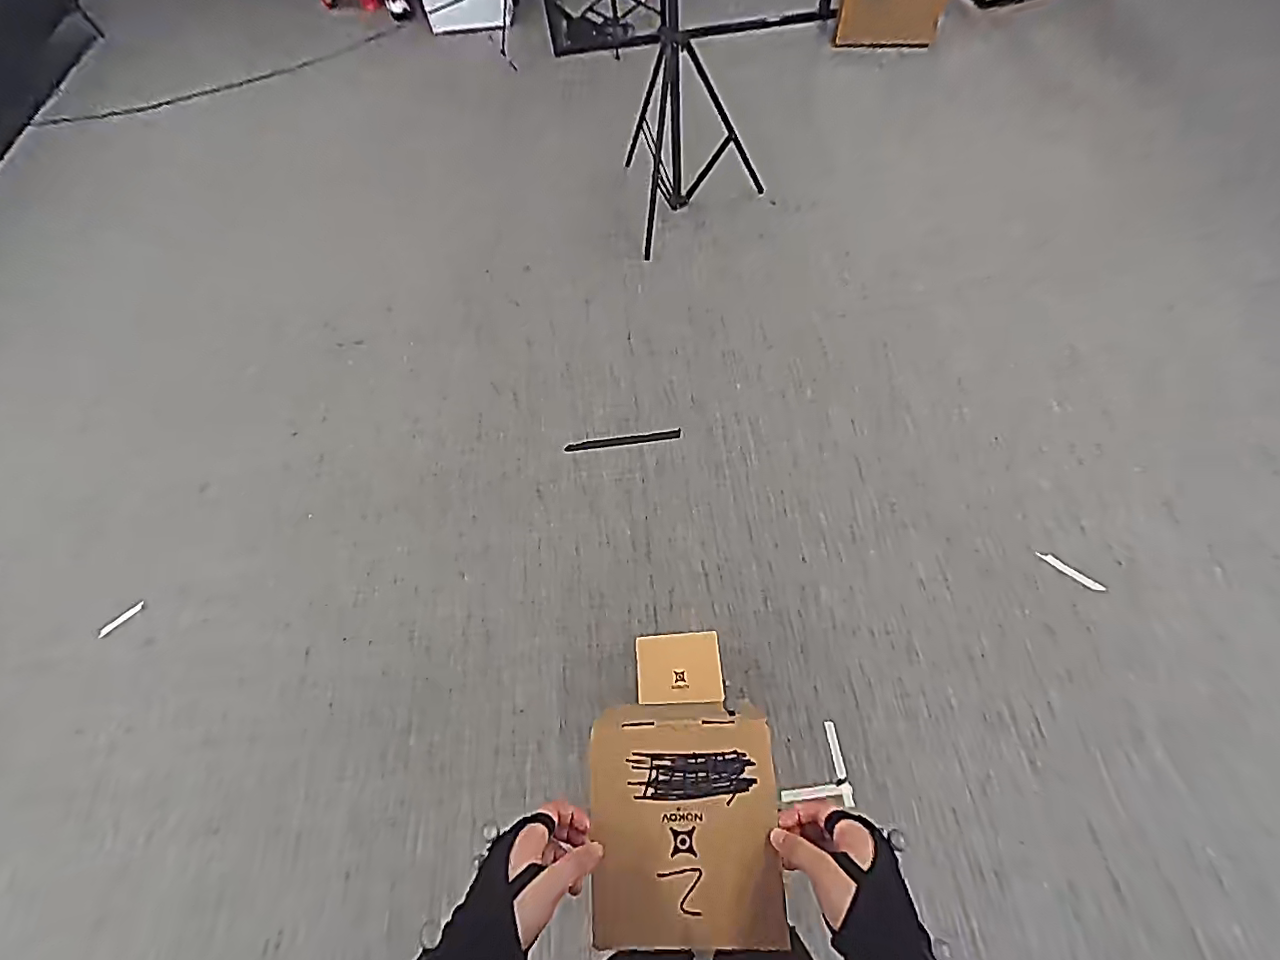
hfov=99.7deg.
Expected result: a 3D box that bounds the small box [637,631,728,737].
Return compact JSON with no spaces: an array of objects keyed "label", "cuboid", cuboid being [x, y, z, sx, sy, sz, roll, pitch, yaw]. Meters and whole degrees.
[{"label":"small box","cuboid":[0.083,0.422,1.109,0.168,0.176,0.179,-5,62,2]}]

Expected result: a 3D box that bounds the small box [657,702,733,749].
[{"label":"small box","cuboid":[0.103,0.504,1.248,0.168,0.176,0.179,-17,62,-3]}]
